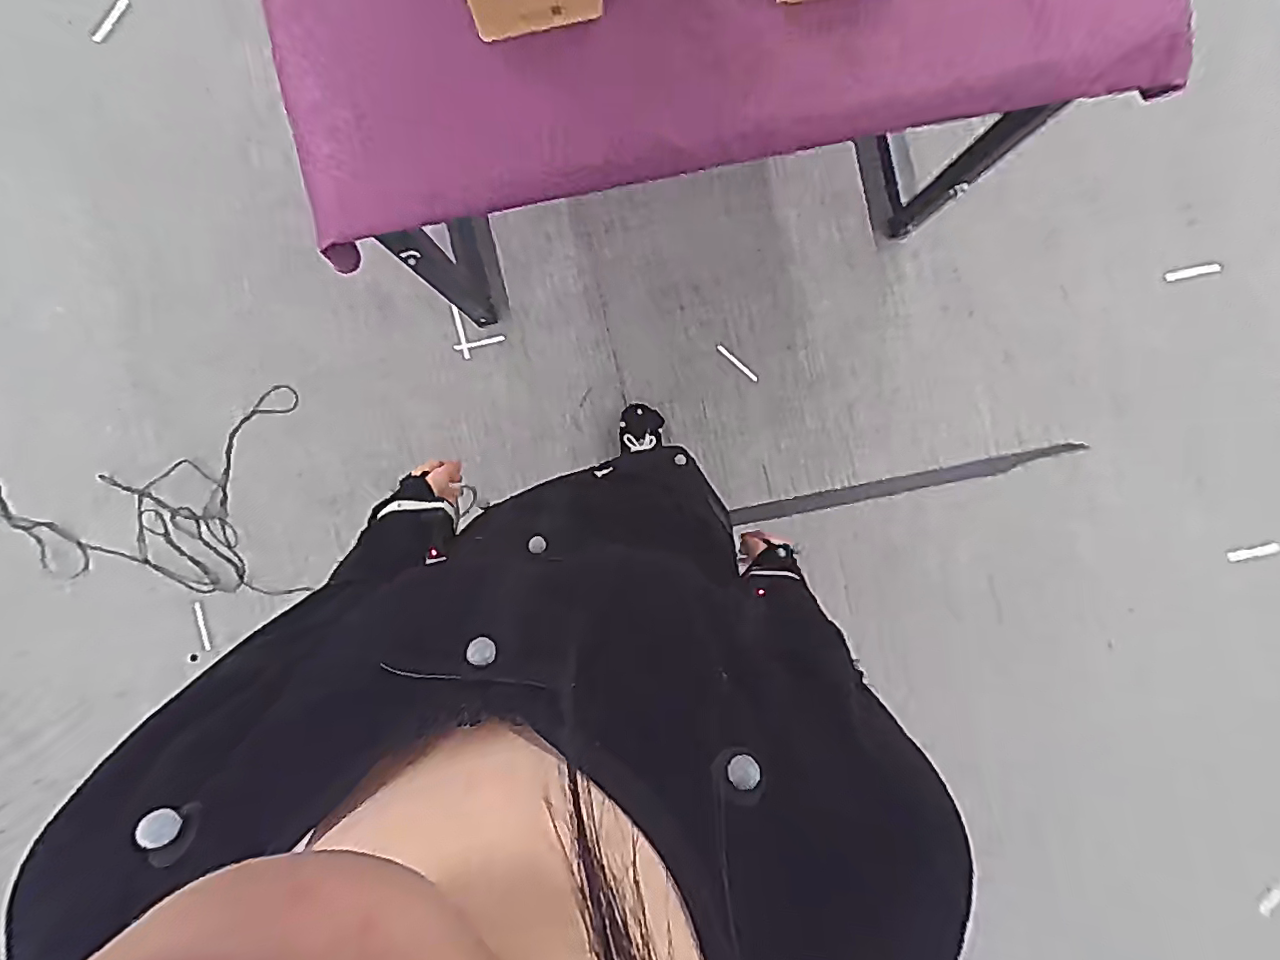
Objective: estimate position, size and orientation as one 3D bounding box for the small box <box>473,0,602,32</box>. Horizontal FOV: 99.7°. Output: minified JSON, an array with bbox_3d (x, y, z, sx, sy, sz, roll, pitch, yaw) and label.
[{"bbox_3d":[-0.144,-0.680,0.639,0.168,0.176,0.179,-13,92,0],"label":"small box"}]
